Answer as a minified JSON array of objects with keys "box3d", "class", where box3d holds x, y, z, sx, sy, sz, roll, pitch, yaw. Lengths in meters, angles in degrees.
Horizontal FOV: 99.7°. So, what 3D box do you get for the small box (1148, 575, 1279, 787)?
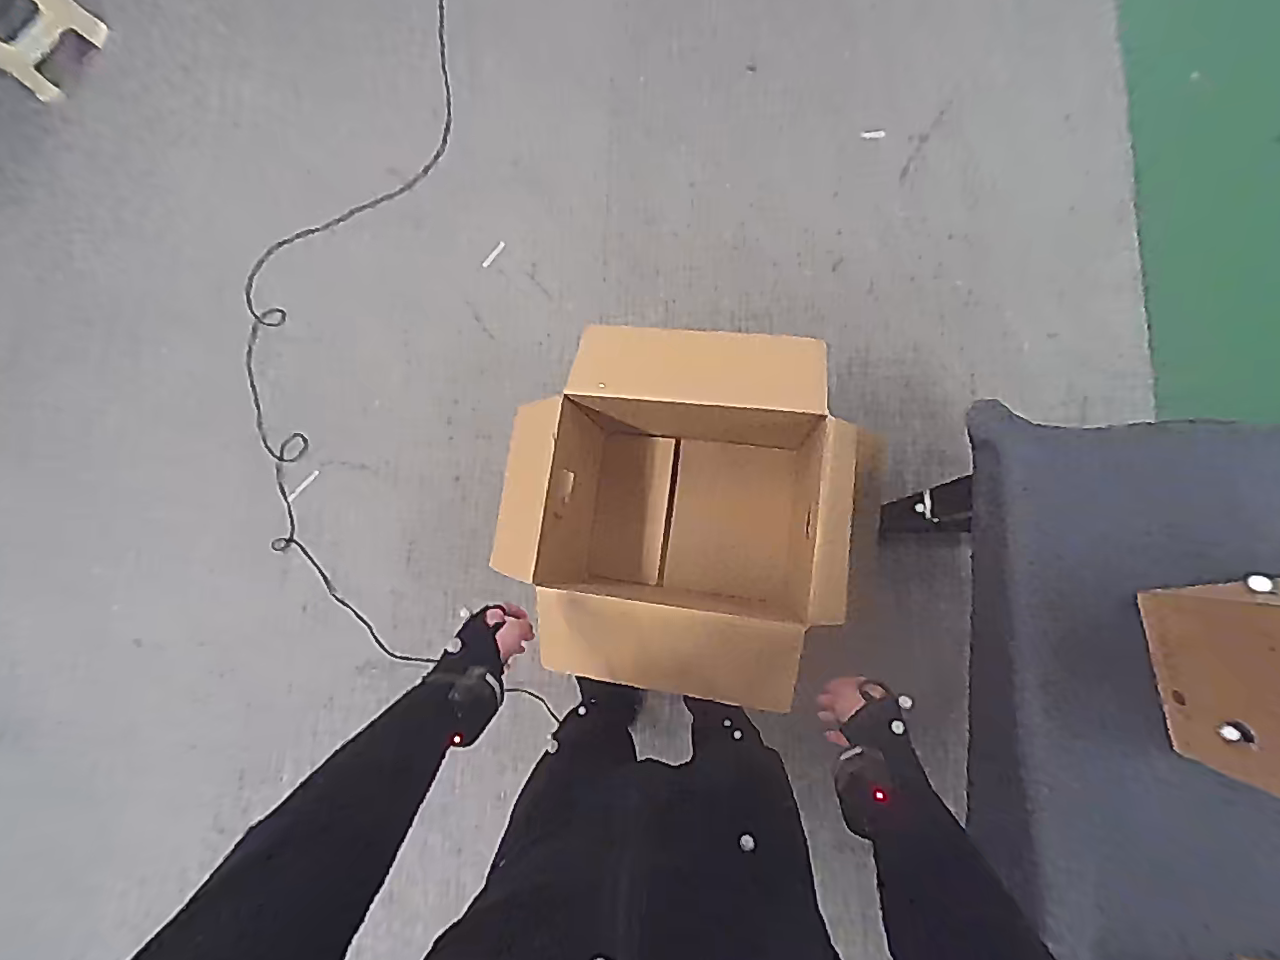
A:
[{"box3d":[0.612,0.177,0.482,0.179,0.176,0.168,-8,82,6],"class":"small box"}]
